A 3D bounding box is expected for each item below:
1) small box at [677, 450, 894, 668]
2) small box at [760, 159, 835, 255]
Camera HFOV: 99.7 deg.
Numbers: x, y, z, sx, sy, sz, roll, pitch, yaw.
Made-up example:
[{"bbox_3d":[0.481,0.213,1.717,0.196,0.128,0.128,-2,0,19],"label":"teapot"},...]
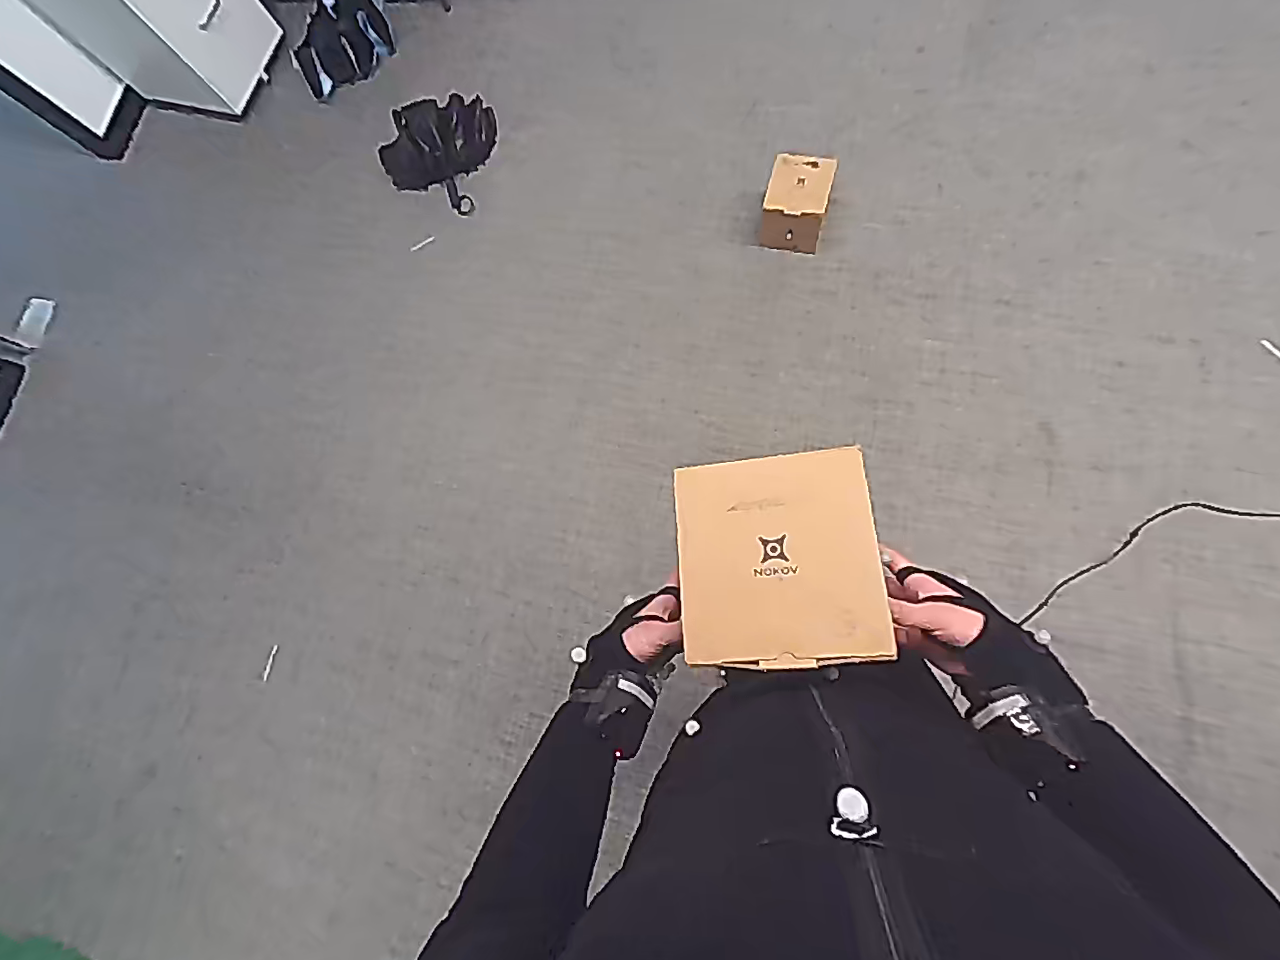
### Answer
[{"bbox_3d":[0.136,0.089,0.534,0.168,0.176,0.179,-7,69,12],"label":"small box"},{"bbox_3d":[0.442,-0.771,1.542,0.168,0.176,0.179,14,81,13],"label":"small box"}]
